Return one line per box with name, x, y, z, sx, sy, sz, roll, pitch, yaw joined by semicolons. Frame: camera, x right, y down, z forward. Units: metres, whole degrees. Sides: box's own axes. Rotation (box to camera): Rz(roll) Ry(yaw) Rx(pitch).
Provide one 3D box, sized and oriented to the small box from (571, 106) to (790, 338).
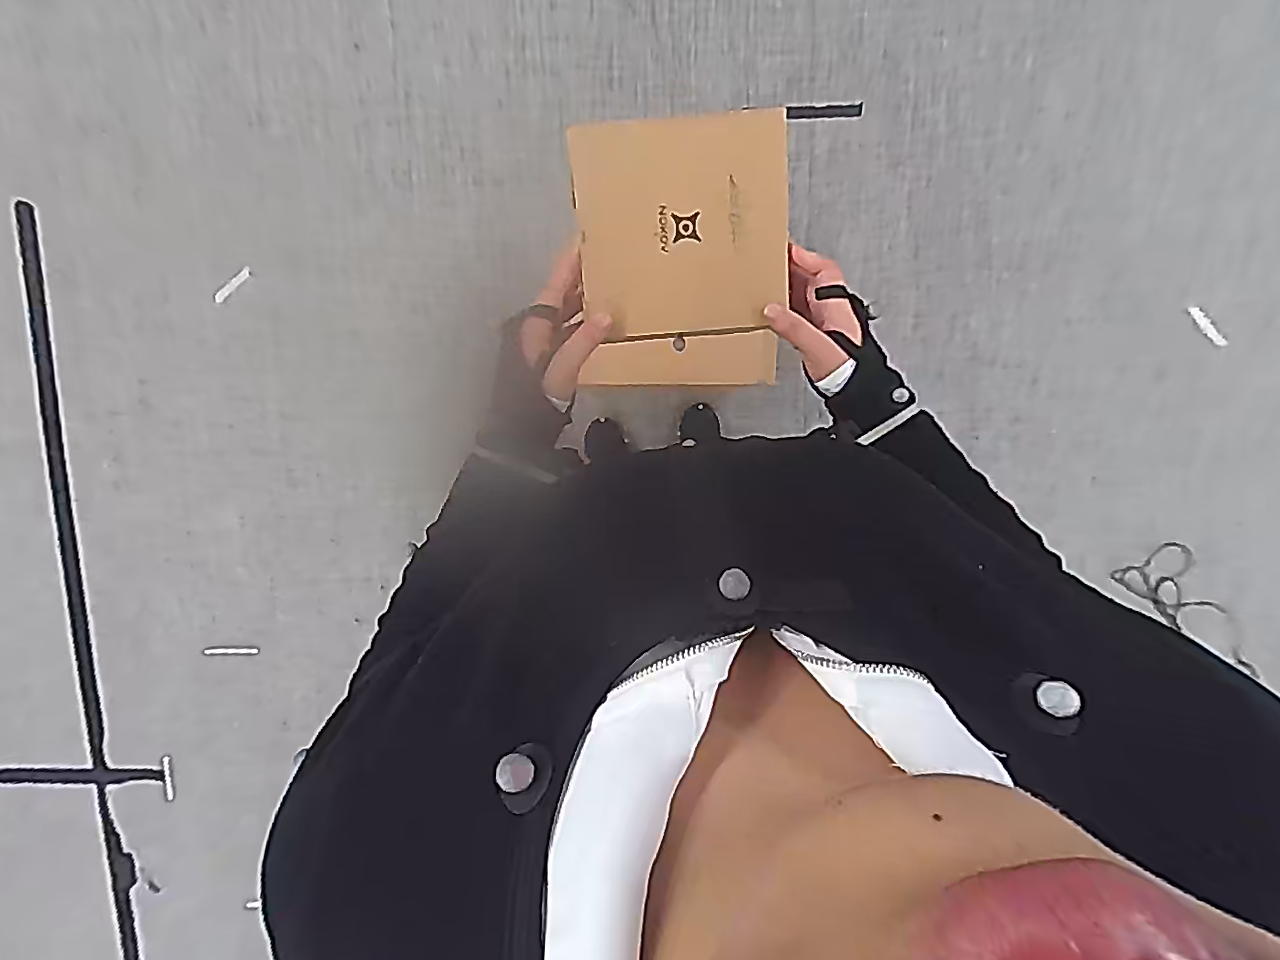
small box;0.037;-0.231;0.528;0.179;0.176;0.168;-5;104;0
